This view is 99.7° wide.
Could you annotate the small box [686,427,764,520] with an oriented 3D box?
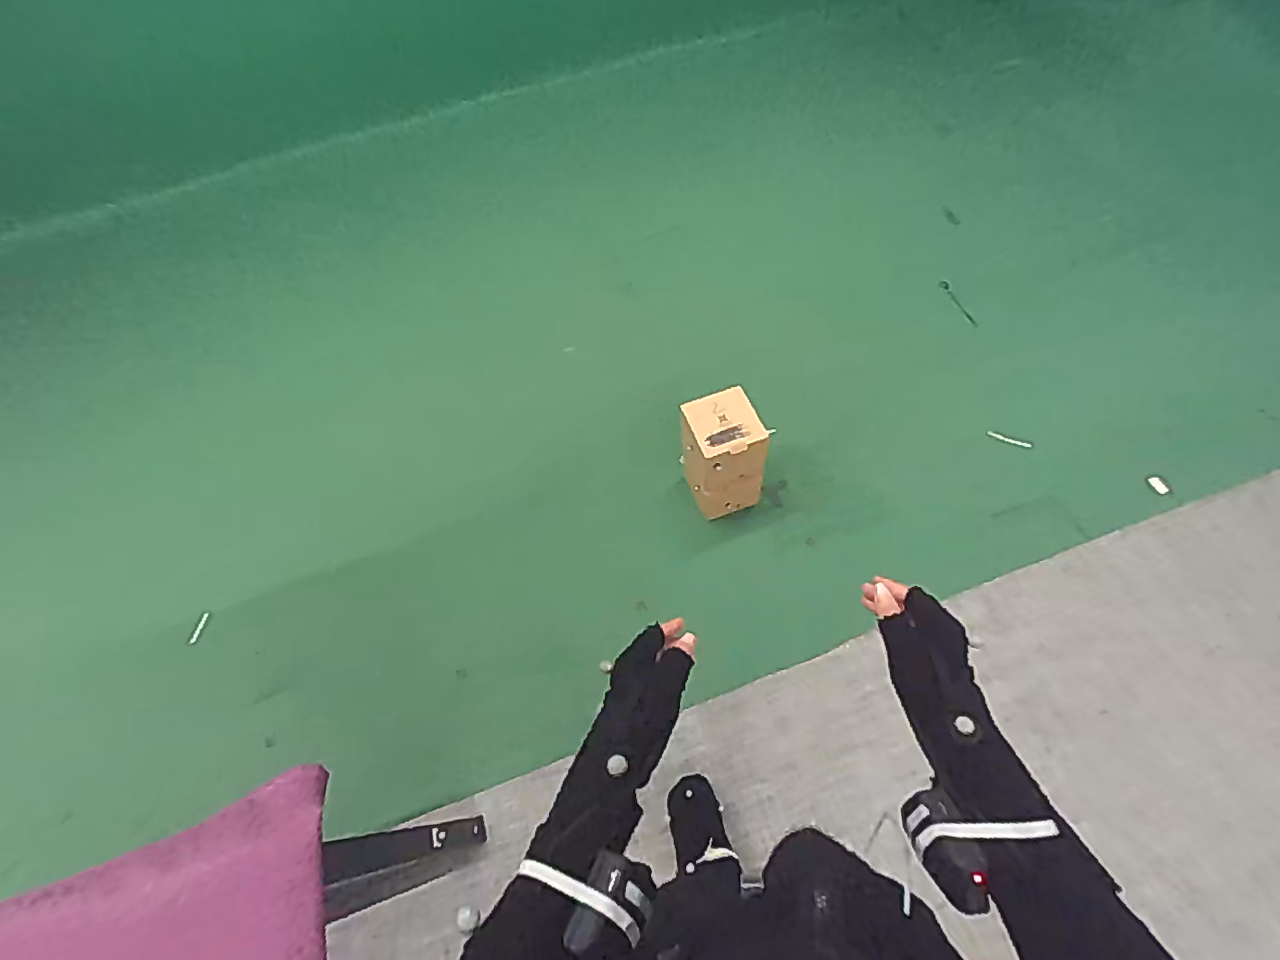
[{"bbox_3d":[0.235,-0.016,1.538,0.168,0.176,0.179,-19,61,-5],"label":"small box"}]
